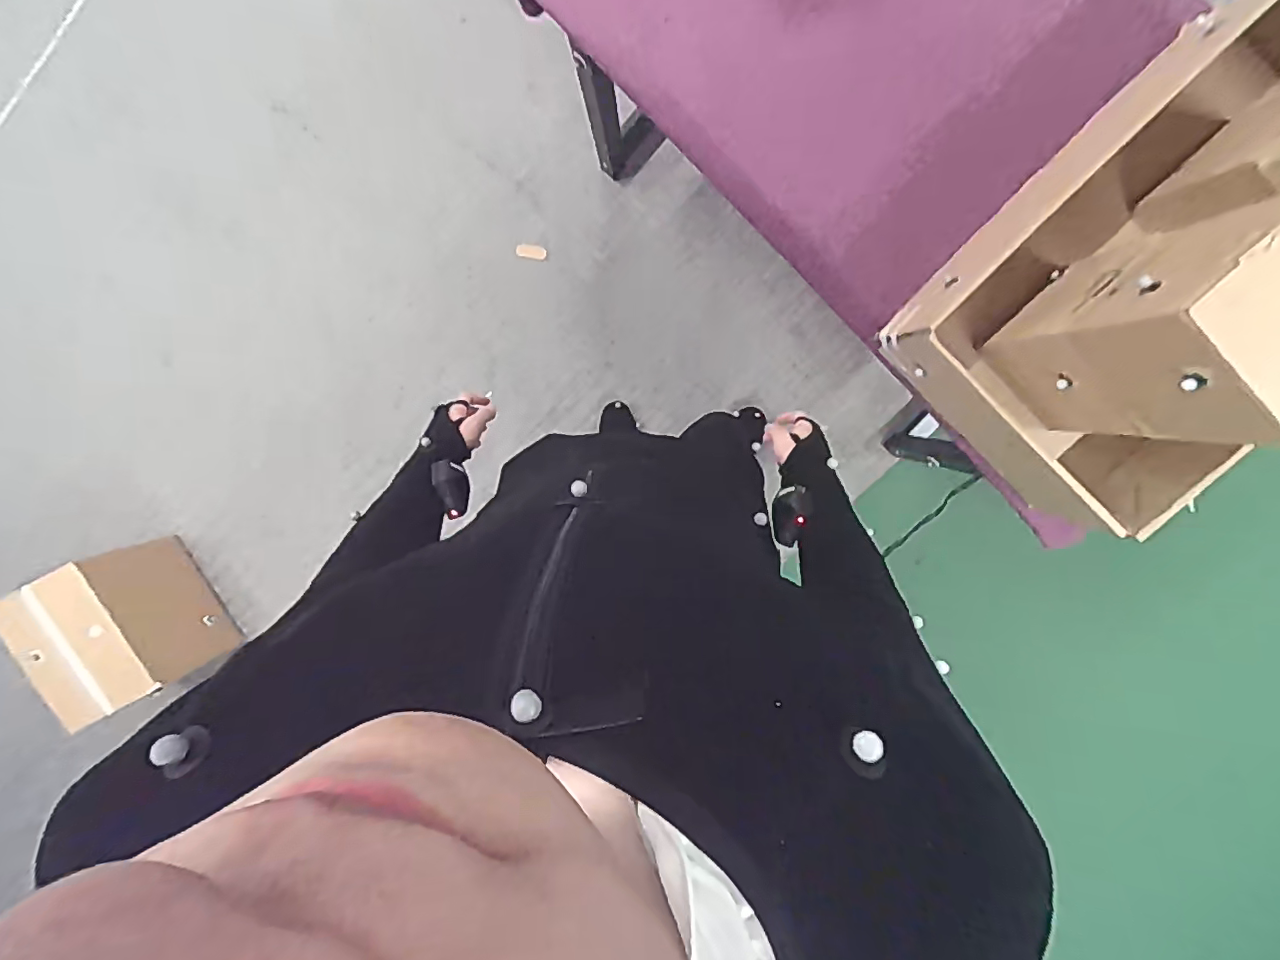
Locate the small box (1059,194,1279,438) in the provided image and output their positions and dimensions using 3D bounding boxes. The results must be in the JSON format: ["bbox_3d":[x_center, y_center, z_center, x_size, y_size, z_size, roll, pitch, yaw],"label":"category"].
[{"bbox_3d":[0.602,-0.160,0.563,0.168,0.176,0.179,-43,95,8],"label":"small box"}]
